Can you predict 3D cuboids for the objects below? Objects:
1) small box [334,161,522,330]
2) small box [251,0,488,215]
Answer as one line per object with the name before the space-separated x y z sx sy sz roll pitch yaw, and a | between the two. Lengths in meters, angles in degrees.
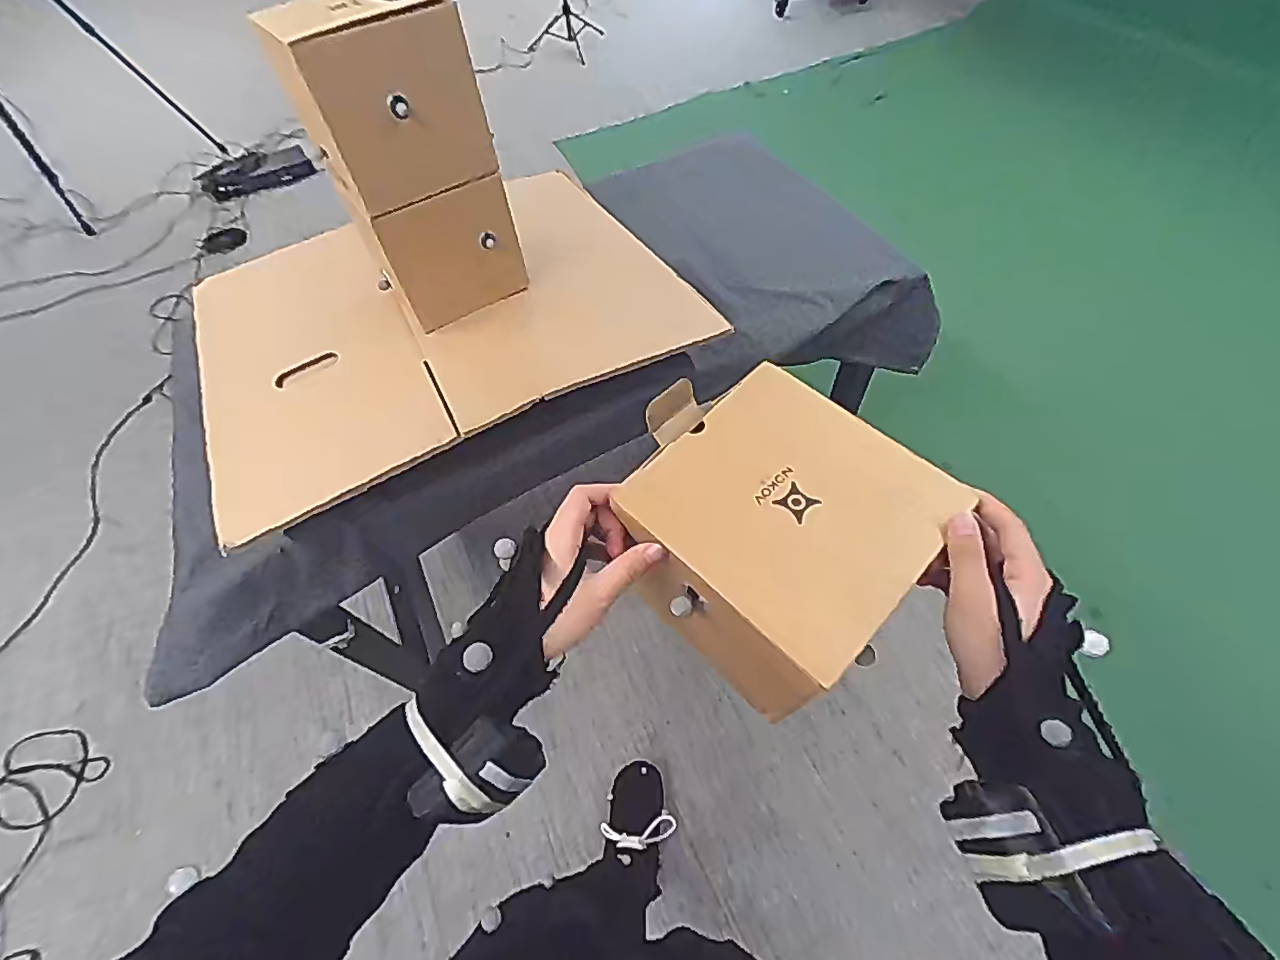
small box | -0.284 -0.346 0.762 0.179 0.176 0.168 -33 57 -17
small box | -0.297 -0.446 0.631 0.179 0.176 0.168 -33 57 -18
